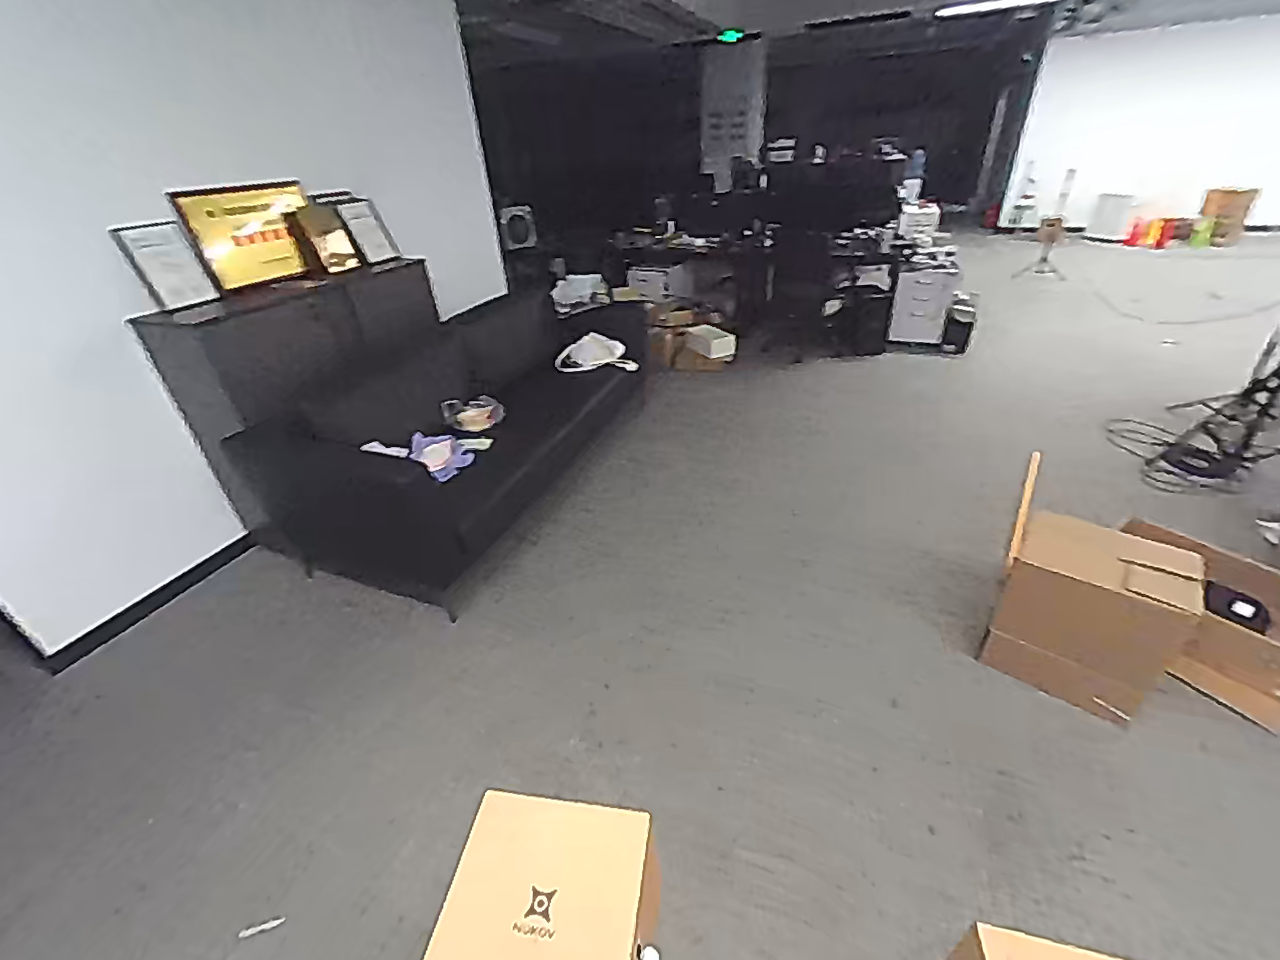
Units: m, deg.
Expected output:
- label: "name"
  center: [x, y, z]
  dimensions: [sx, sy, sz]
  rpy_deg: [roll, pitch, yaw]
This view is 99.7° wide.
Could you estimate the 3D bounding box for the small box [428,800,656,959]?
- label: "small box"
  center: [-0.078, 0.430, 0.490]
  dimensions: [0.168, 0.176, 0.179]
  rpy_deg: [2, 36, 9]
